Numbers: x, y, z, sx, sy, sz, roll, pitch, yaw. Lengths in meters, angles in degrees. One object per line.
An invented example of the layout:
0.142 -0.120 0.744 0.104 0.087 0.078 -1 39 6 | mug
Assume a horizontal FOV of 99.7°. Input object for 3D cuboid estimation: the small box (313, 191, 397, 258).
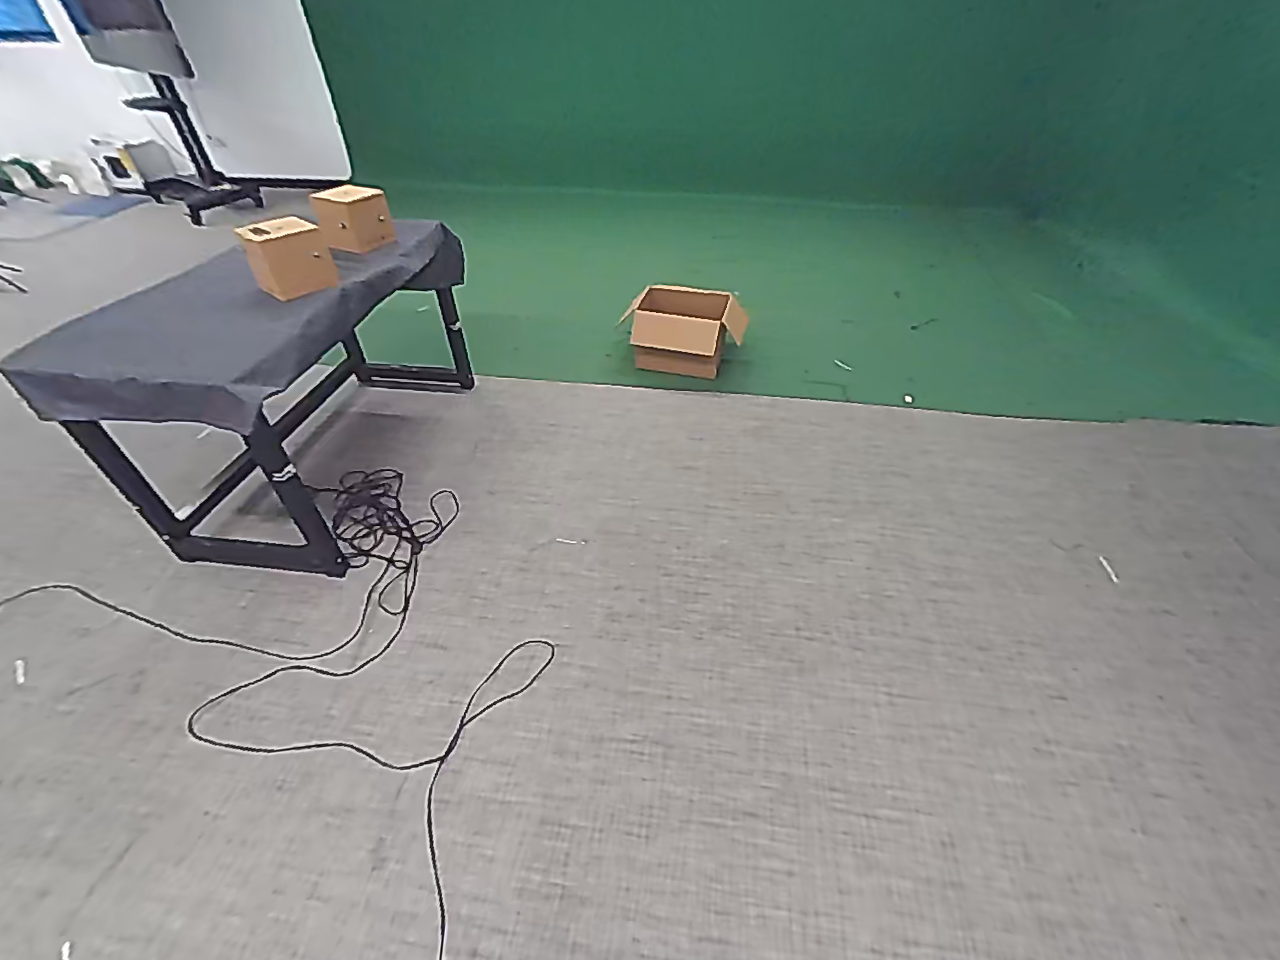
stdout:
-0.984 -0.889 1.884 0.179 0.176 0.168 17 43 20 | small box
